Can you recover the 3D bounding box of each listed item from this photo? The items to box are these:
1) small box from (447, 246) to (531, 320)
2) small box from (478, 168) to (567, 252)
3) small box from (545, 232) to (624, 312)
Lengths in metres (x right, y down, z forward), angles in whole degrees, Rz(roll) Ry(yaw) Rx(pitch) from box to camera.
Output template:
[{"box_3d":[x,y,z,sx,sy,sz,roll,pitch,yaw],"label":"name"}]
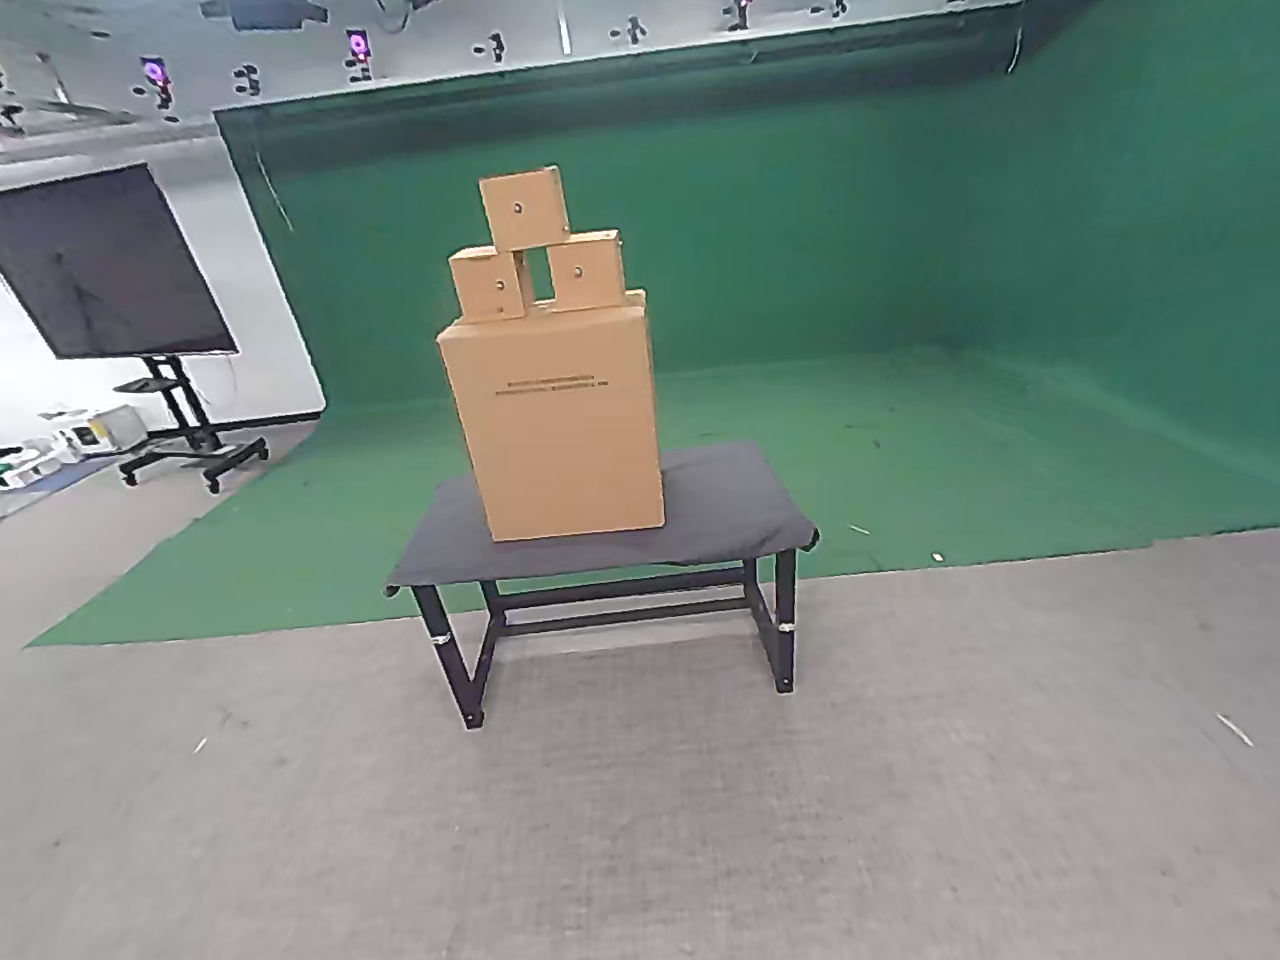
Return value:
[{"box_3d":[-0.398,-0.534,1.463,0.168,0.176,0.179,-4,28,1],"label":"small box"},{"box_3d":[-0.288,-0.688,1.376,0.179,0.176,0.168,-7,30,3],"label":"small box"},{"box_3d":[-0.143,-0.557,1.453,0.179,0.176,0.168,-5,30,4],"label":"small box"}]
